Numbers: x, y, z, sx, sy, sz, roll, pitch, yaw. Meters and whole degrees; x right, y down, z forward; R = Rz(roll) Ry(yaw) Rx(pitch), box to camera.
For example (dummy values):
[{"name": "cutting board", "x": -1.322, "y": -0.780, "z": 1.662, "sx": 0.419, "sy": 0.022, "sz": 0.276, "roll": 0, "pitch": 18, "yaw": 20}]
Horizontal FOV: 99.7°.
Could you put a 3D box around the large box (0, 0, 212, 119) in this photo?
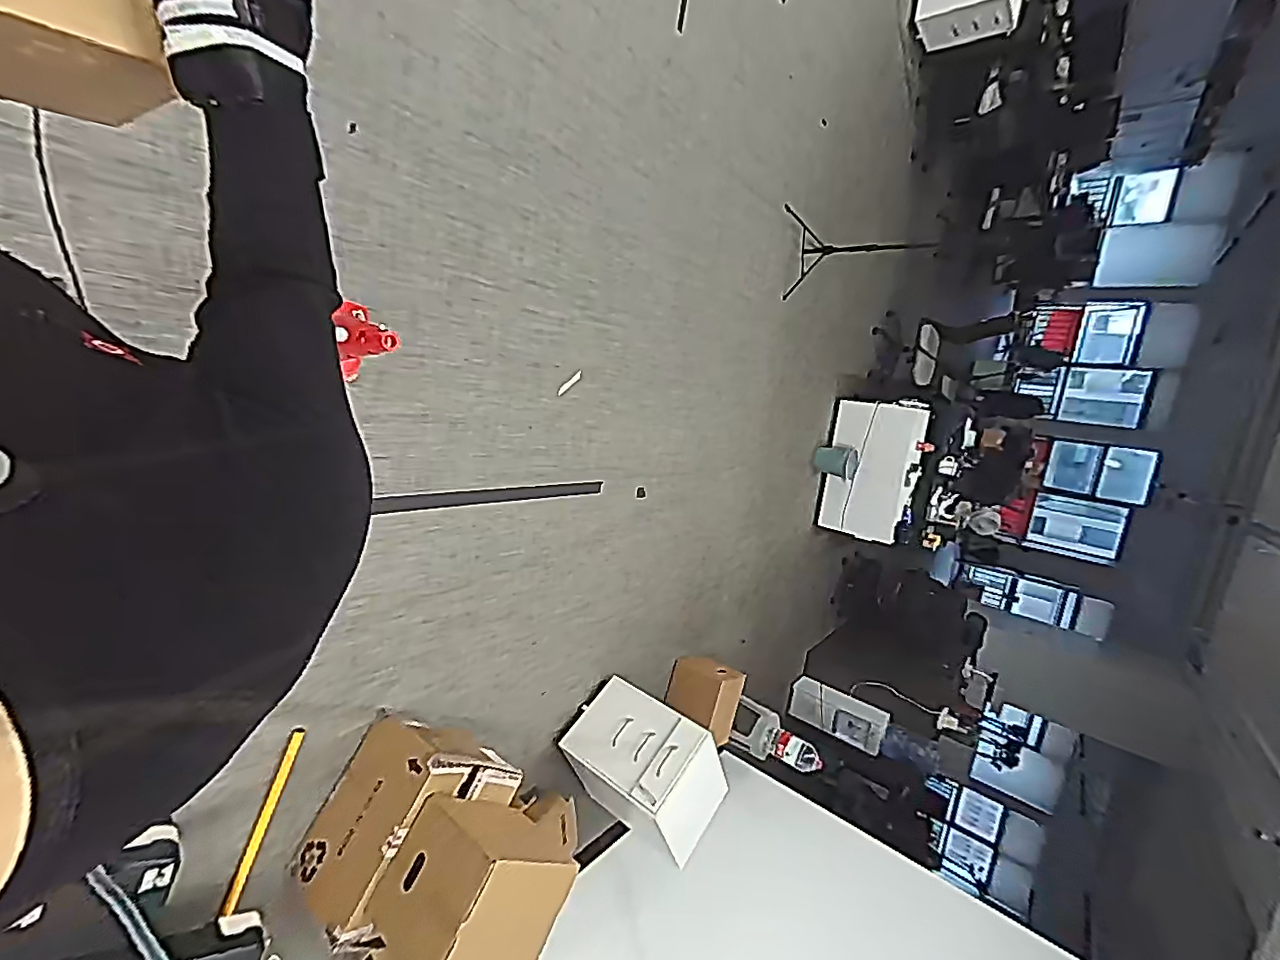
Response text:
[{"name": "large box", "x": -0.526, "y": -0.438, "z": 0.272, "sx": 0.408, "sy": 0.320, "sz": 0.320, "roll": -14, "pitch": 117, "yaw": -51}]
